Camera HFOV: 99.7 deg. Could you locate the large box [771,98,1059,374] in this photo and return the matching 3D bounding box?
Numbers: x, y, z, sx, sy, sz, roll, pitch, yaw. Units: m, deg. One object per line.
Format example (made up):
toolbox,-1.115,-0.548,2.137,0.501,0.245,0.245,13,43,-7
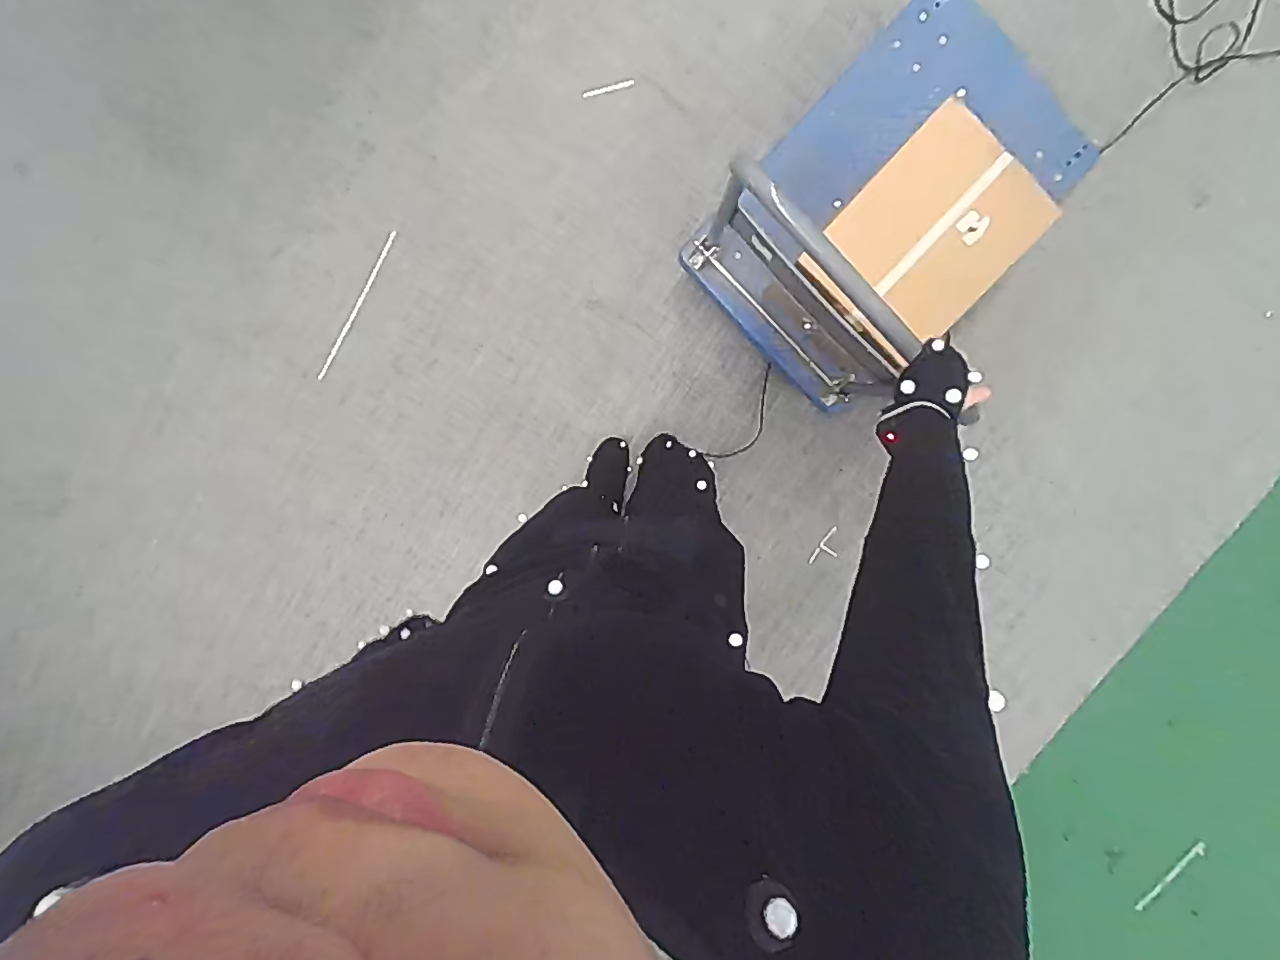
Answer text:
large box,0.560,-0.488,1.186,0.320,0.320,0.408,43,96,-7
